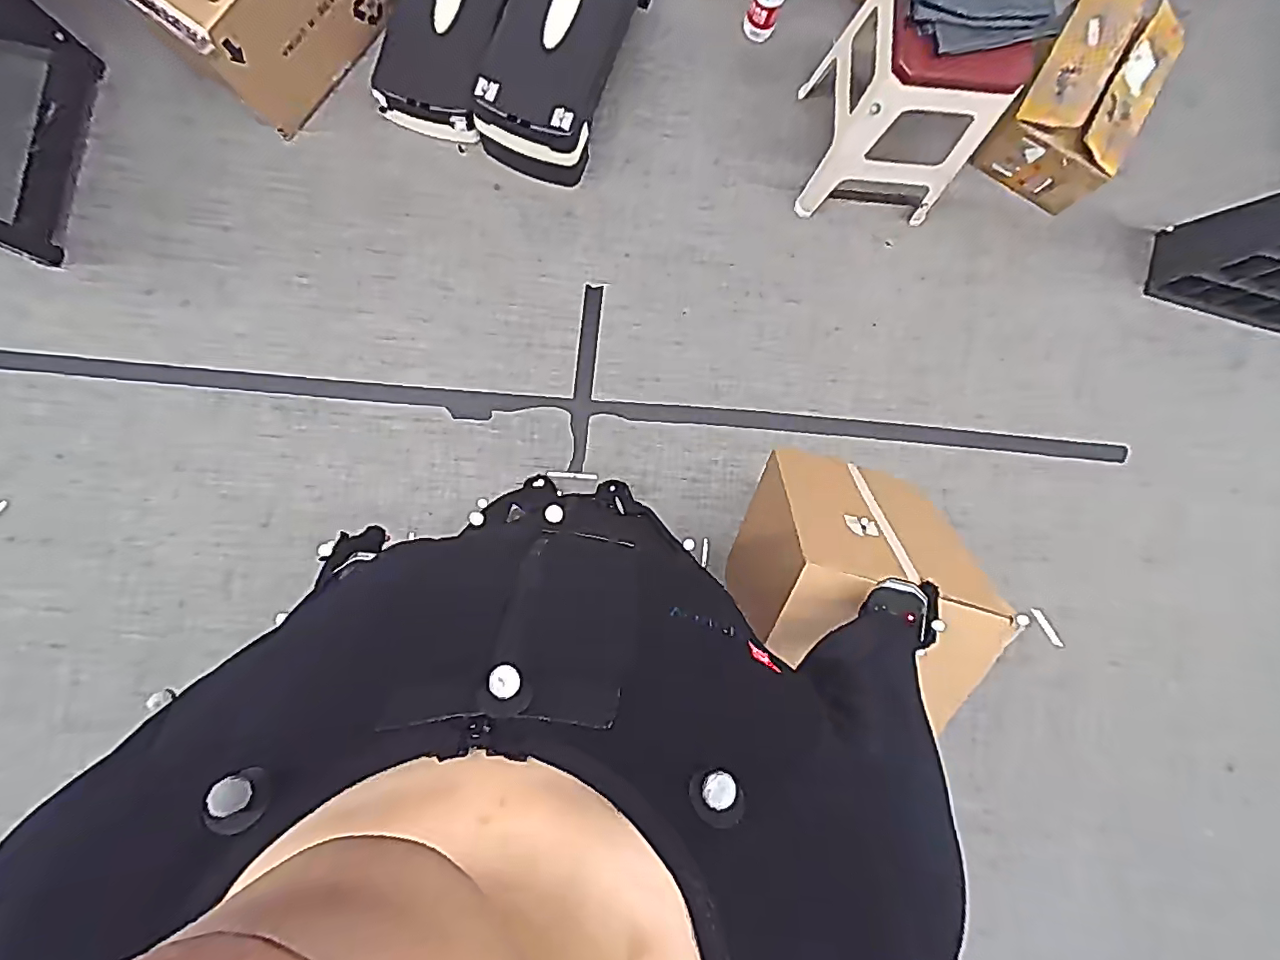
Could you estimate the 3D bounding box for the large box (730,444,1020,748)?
[{"bbox_3d":[0.366,0.188,0.989,0.320,0.408,0.320,15,120,-1],"label":"large box"}]
